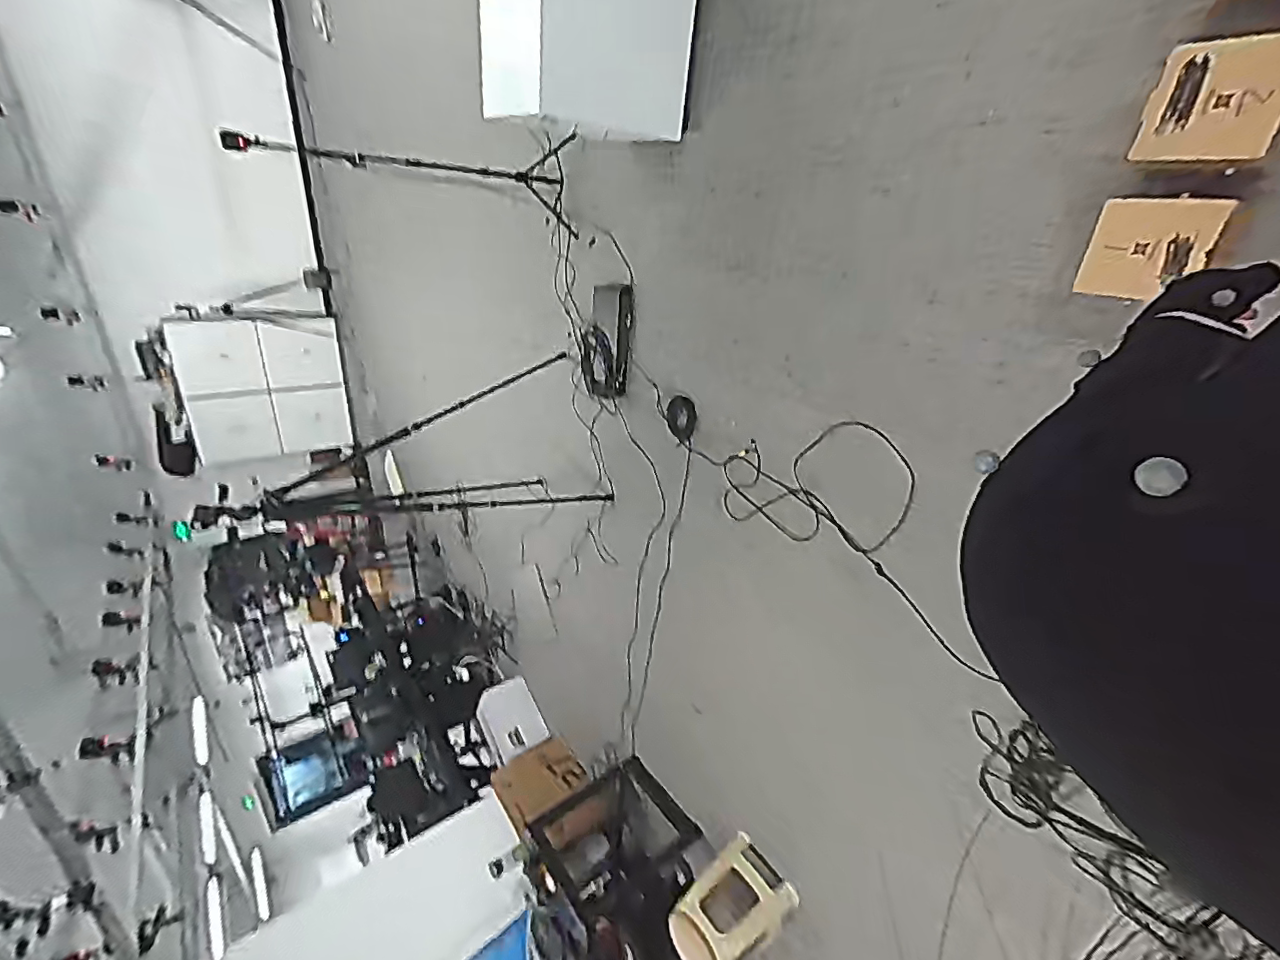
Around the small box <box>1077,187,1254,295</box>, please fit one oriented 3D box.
[{"bbox_3d":[0.966,-0.442,0.996,0.179,0.176,0.168,32,128,45],"label":"small box"}]
